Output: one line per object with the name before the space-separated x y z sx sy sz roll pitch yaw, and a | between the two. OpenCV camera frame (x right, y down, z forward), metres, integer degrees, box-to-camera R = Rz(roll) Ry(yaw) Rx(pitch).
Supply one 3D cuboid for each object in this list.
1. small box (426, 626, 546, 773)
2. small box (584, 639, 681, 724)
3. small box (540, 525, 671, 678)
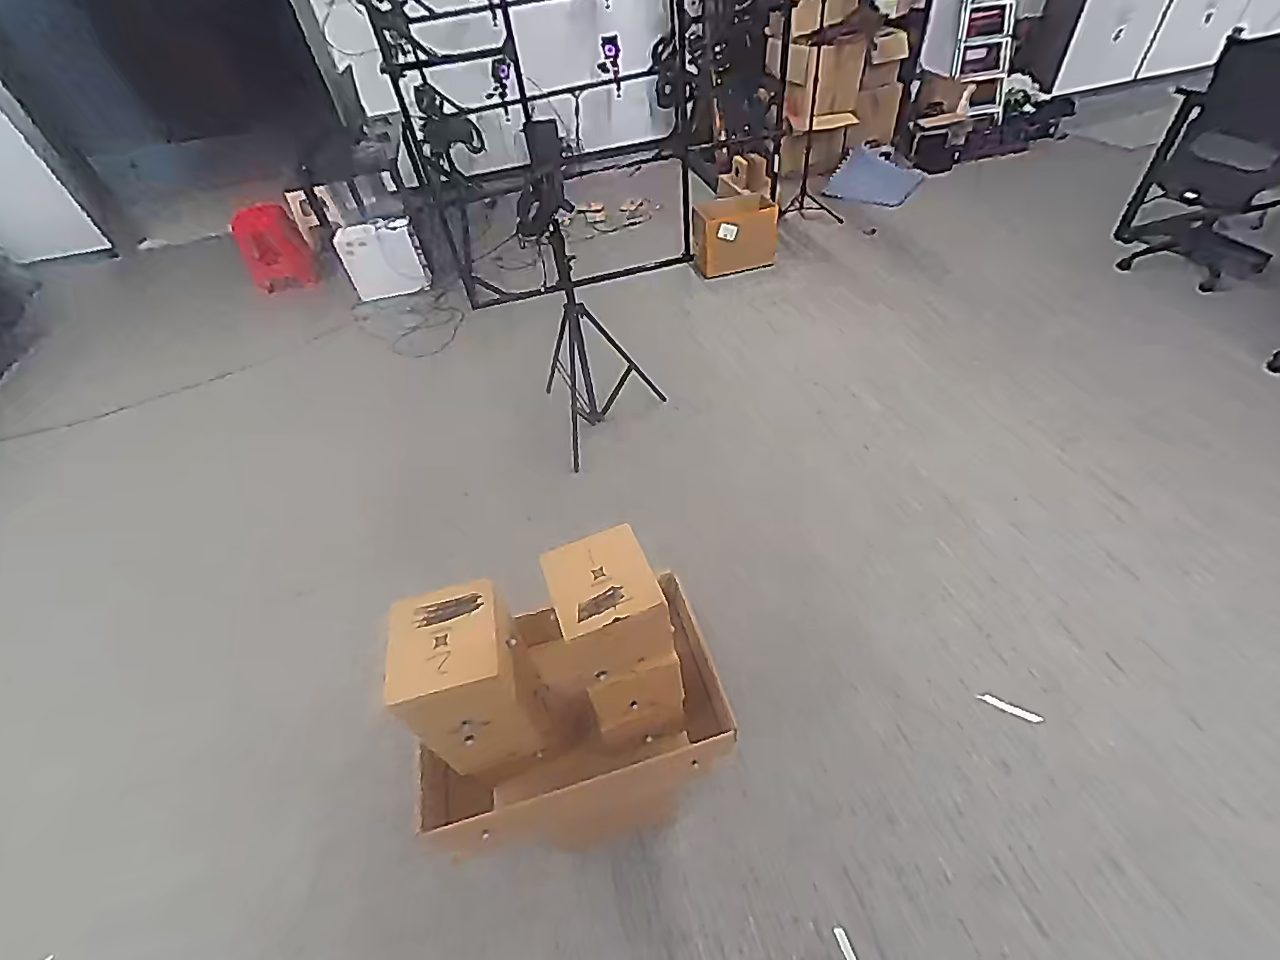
small box | -0.281 0.406 1.001 0.168 0.176 0.179 -15 45 -5
small box | -0.028 0.332 1.035 0.168 0.176 0.179 -17 47 -8
small box | -0.055 0.214 0.924 0.168 0.176 0.179 -19 47 -10
